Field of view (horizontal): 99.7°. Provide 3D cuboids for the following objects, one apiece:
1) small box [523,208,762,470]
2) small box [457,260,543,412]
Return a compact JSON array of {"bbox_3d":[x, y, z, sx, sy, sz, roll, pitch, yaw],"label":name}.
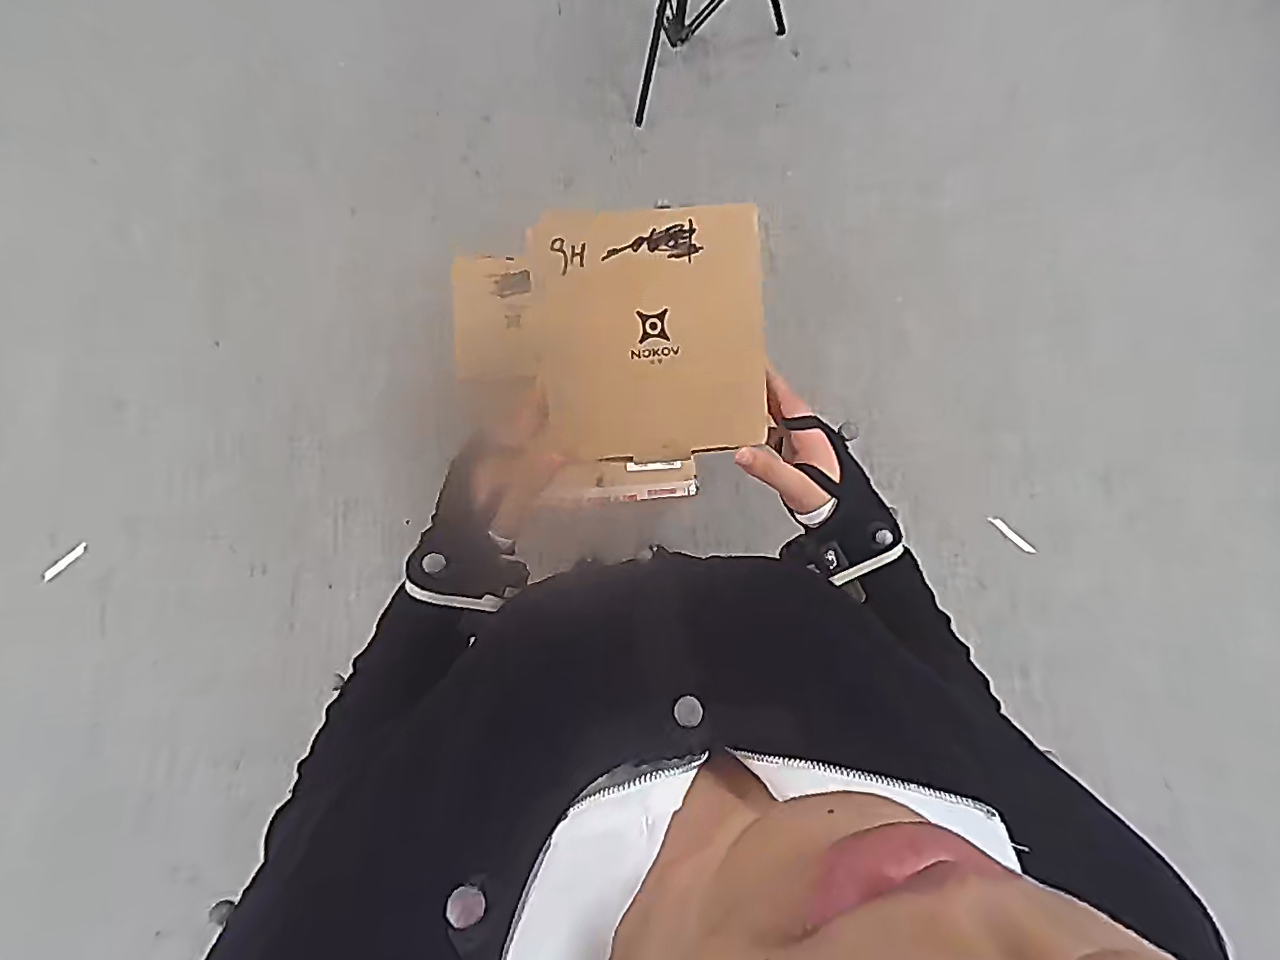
[{"bbox_3d":[0.001,-0.116,0.469,0.168,0.176,0.179,-6,103,-4],"label":"small box"},{"bbox_3d":[-0.168,-0.211,0.817,0.168,0.176,0.179,-4,85,-2],"label":"small box"}]
